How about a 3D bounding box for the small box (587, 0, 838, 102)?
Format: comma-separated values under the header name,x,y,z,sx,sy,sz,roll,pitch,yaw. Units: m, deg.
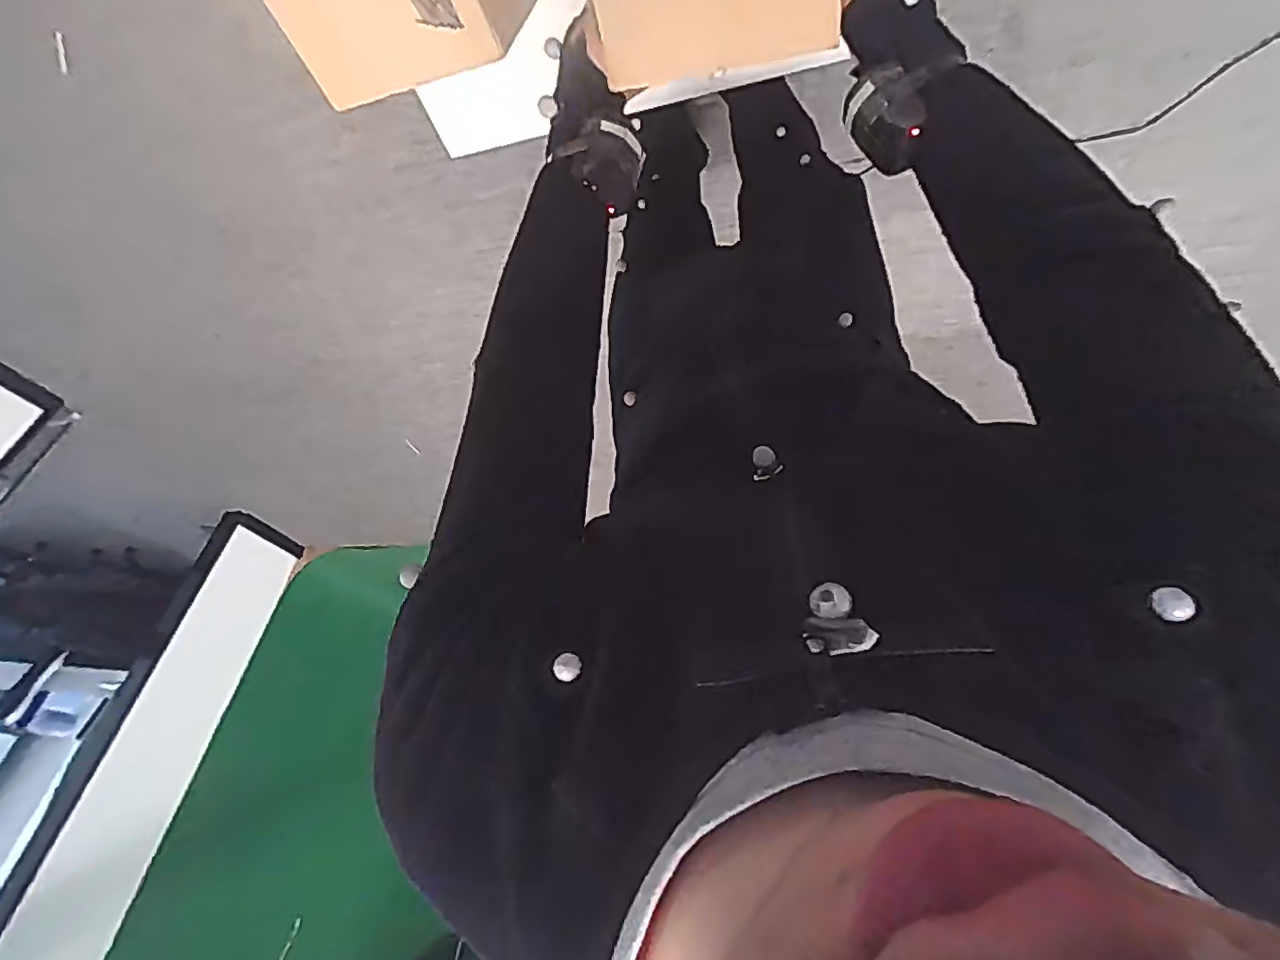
name,x,y,z,sx,sy,sz,roll,pitch,yaw
small box,0.057,-0.415,0.403,0.179,0.176,0.168,1,140,16
